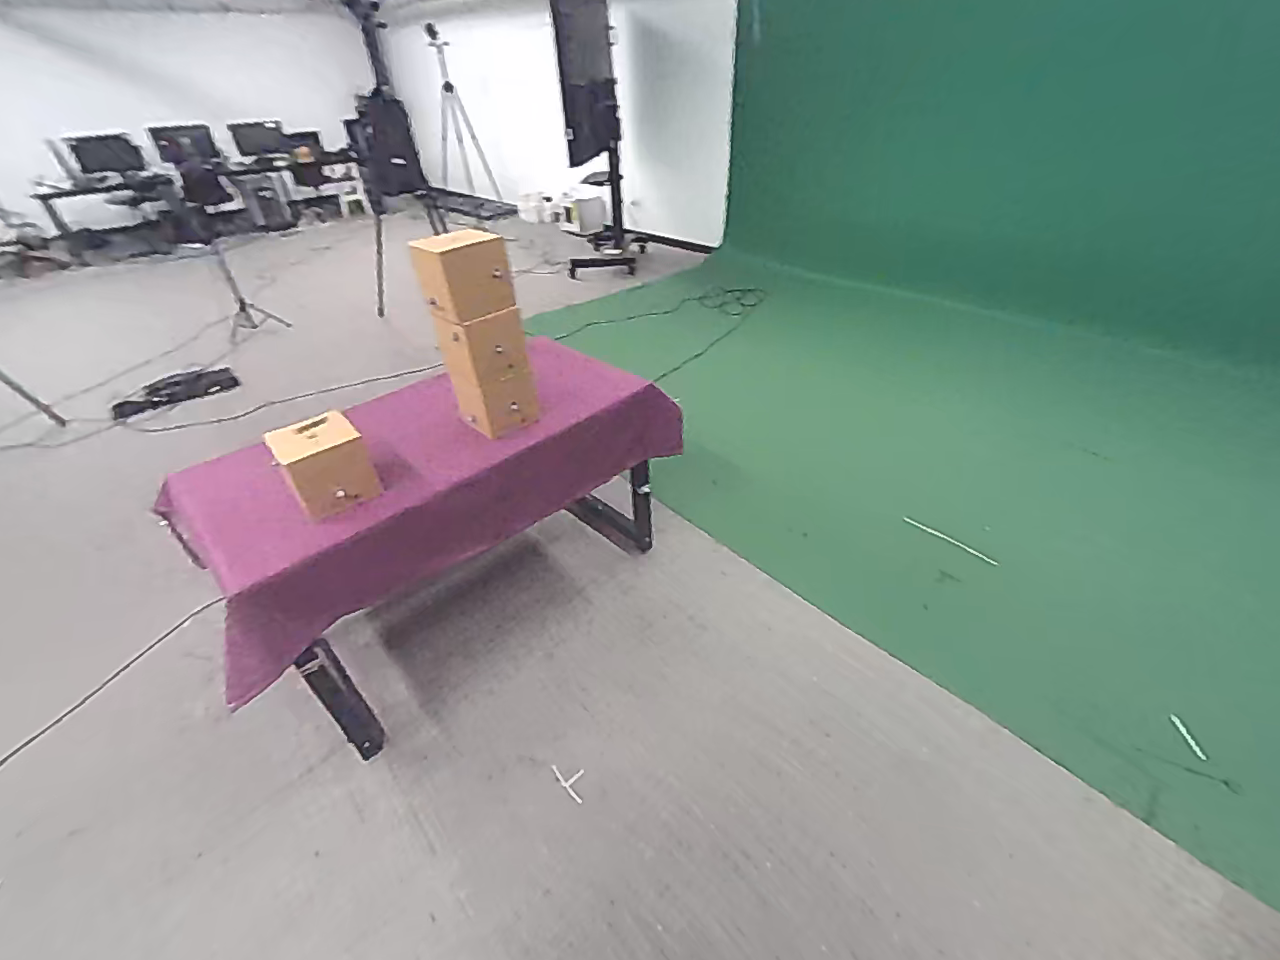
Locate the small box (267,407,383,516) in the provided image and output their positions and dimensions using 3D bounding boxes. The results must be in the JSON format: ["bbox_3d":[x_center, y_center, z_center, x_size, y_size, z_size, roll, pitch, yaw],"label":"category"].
[{"bbox_3d":[-0.740,-0.044,1.279,0.168,0.176,0.179,-30,46,-31],"label":"small box"}]

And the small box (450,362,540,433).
[{"bbox_3d":[-0.403,-0.251,1.527,0.168,0.176,0.179,-31,46,-32],"label":"small box"}]

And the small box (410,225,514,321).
[{"bbox_3d":[-0.426,-0.511,1.327,0.179,0.176,0.168,-32,45,-31],"label":"small box"}]

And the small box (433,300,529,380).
[{"bbox_3d":[-0.413,-0.381,1.425,0.168,0.176,0.179,-31,45,-32],"label":"small box"}]
